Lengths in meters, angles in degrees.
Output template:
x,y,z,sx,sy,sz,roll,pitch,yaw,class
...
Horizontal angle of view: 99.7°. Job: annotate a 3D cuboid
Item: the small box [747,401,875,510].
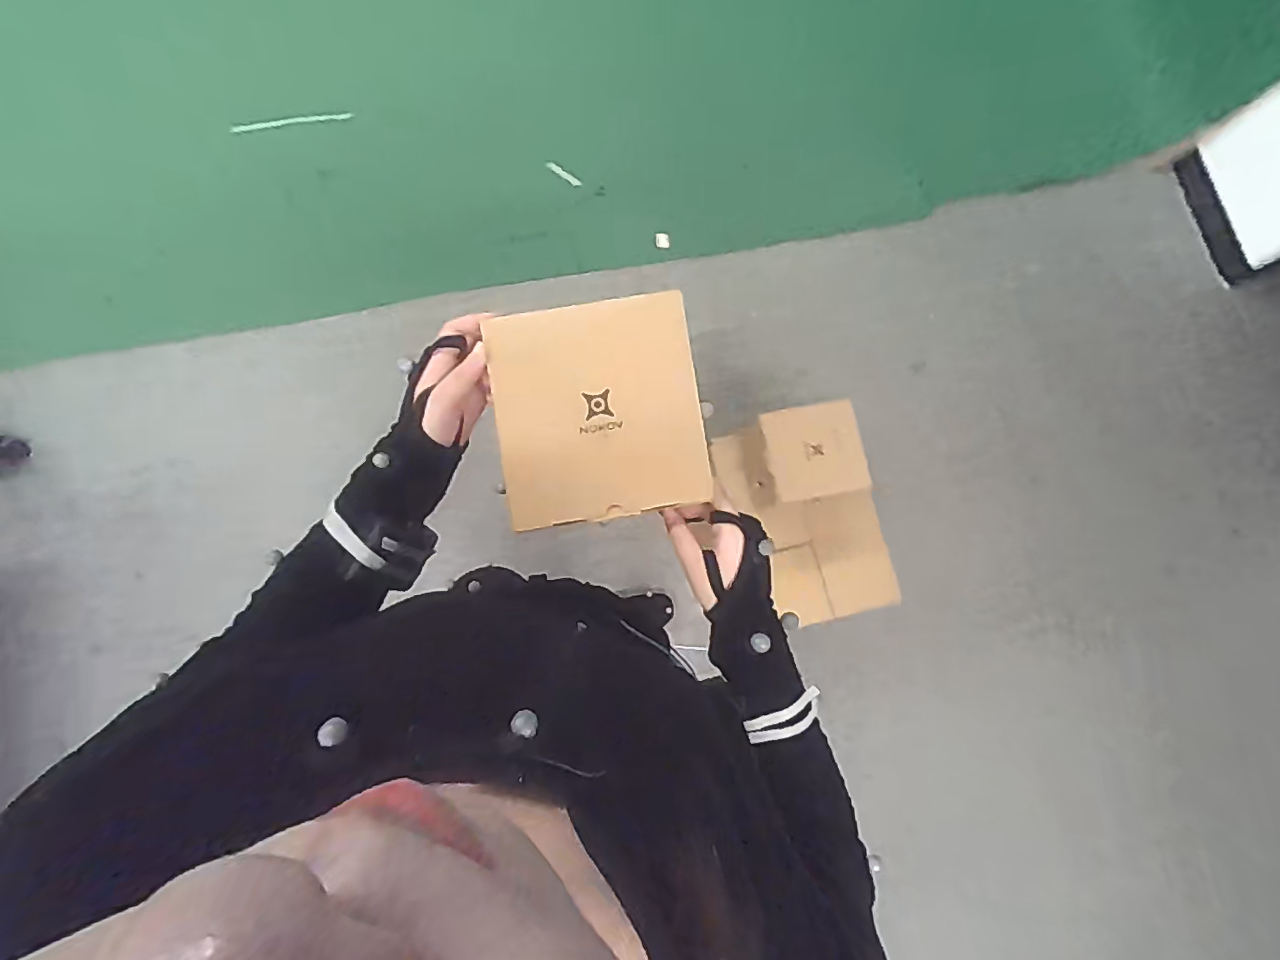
x,y,z,sx,sy,sz,roll,pitch,yaw,class
0.313,-0.040,1.035,0.179,0.176,0.168,-10,84,-4,small box
